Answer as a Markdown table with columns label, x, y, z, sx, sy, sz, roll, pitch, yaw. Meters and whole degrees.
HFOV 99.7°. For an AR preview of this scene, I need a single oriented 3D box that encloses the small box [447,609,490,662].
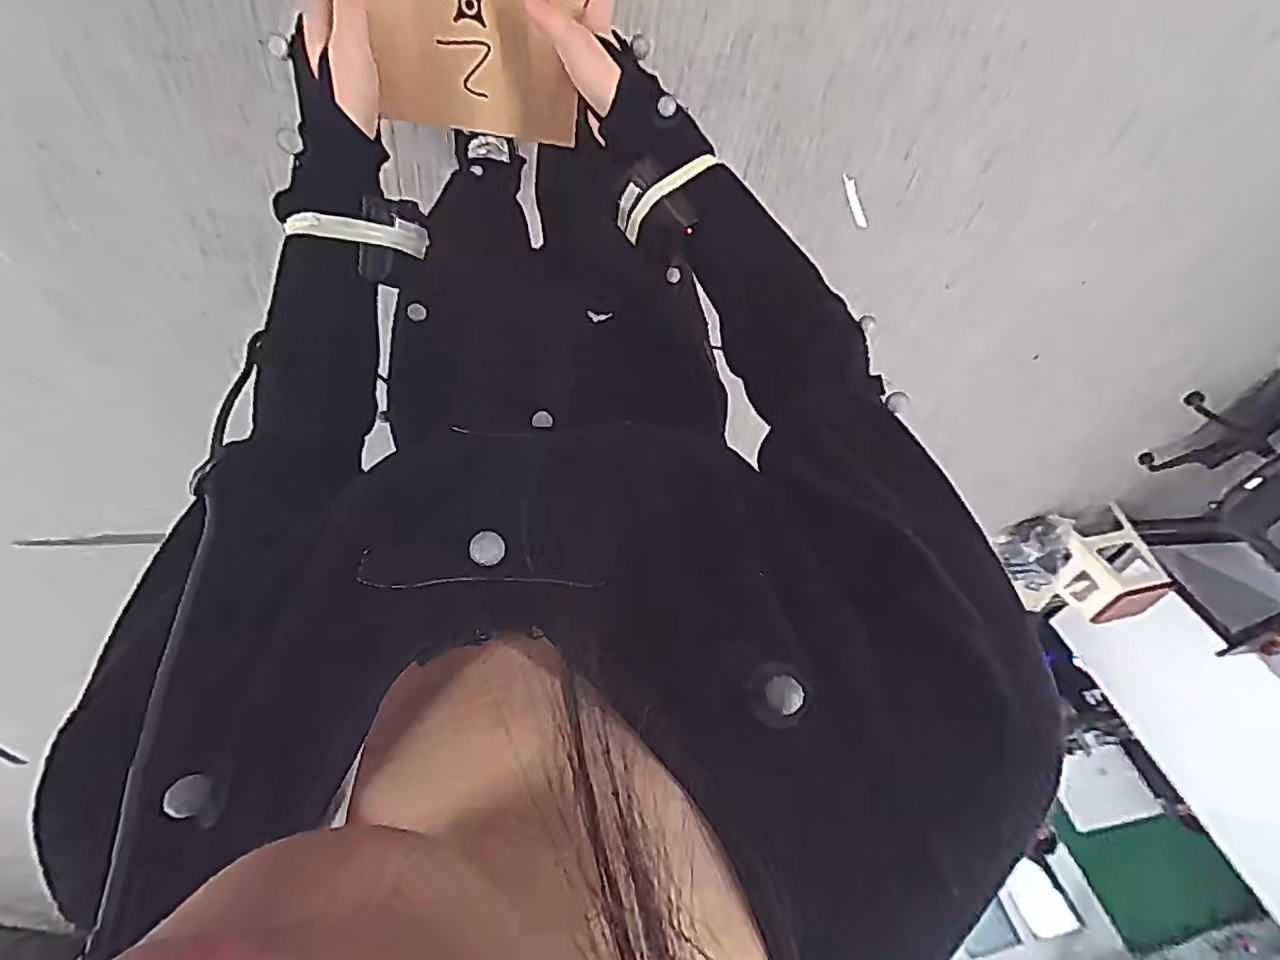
| label | x | y | z | sx | sy | sz | roll | pitch | yaw |
| --- | --- | --- | --- | --- | --- | --- | --- | --- | --- |
| small box | -0.759 | 0.682 | 2.389 | 0.179 | 0.176 | 0.168 | 1 | 135 | -17 |
